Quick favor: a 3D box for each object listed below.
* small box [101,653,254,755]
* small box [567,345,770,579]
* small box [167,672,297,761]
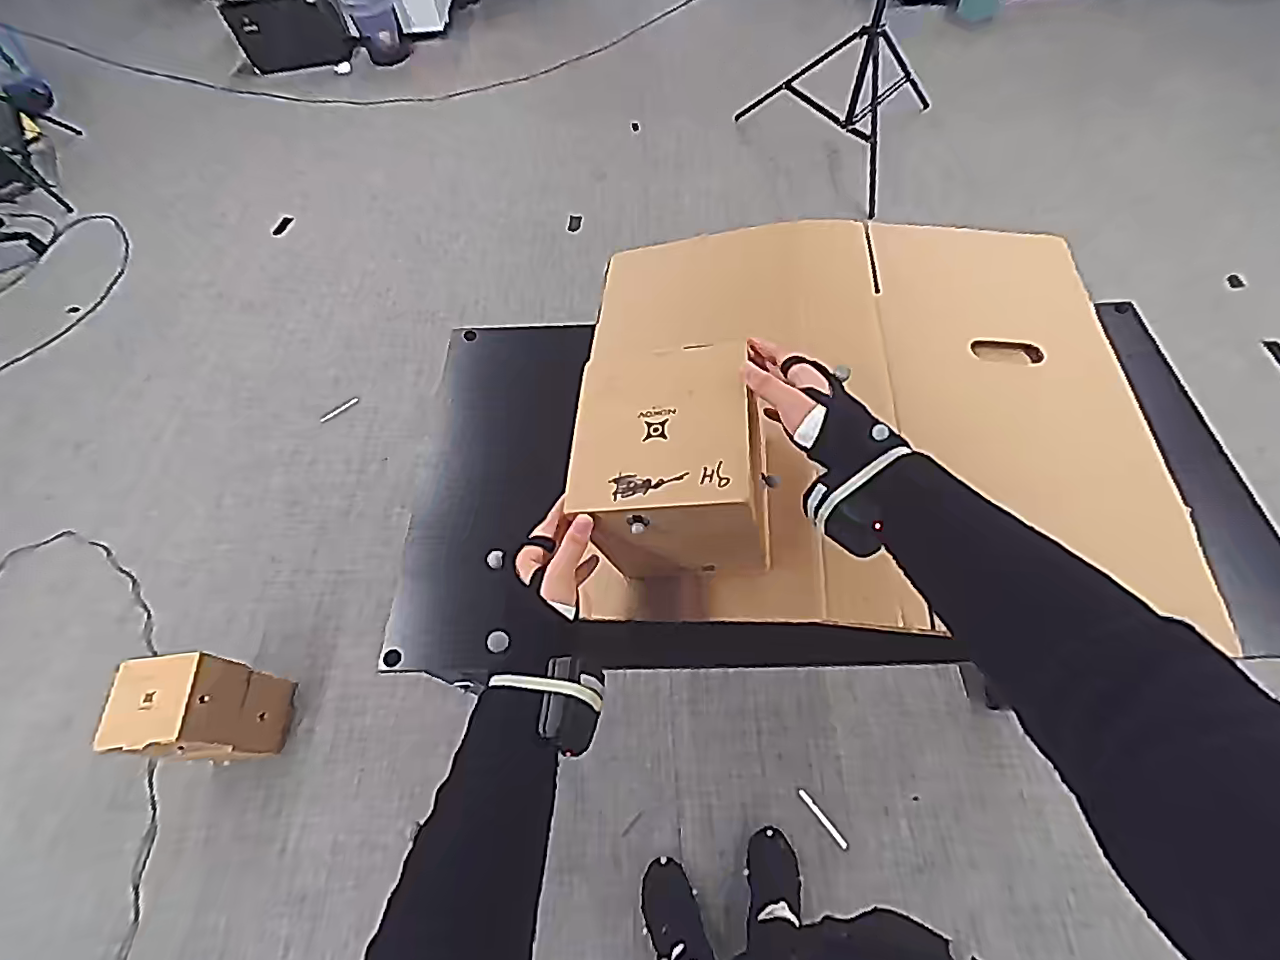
[{"bbox_3d":[-0.983,0.490,1.171,0.168,0.176,0.179,-7,59,-2],"label":"small box"},{"bbox_3d":[0.043,-0.009,0.563,0.168,0.176,0.179,-5,59,18],"label":"small box"},{"bbox_3d":[-0.972,0.575,1.309,0.168,0.176,0.179,-5,61,1],"label":"small box"}]
